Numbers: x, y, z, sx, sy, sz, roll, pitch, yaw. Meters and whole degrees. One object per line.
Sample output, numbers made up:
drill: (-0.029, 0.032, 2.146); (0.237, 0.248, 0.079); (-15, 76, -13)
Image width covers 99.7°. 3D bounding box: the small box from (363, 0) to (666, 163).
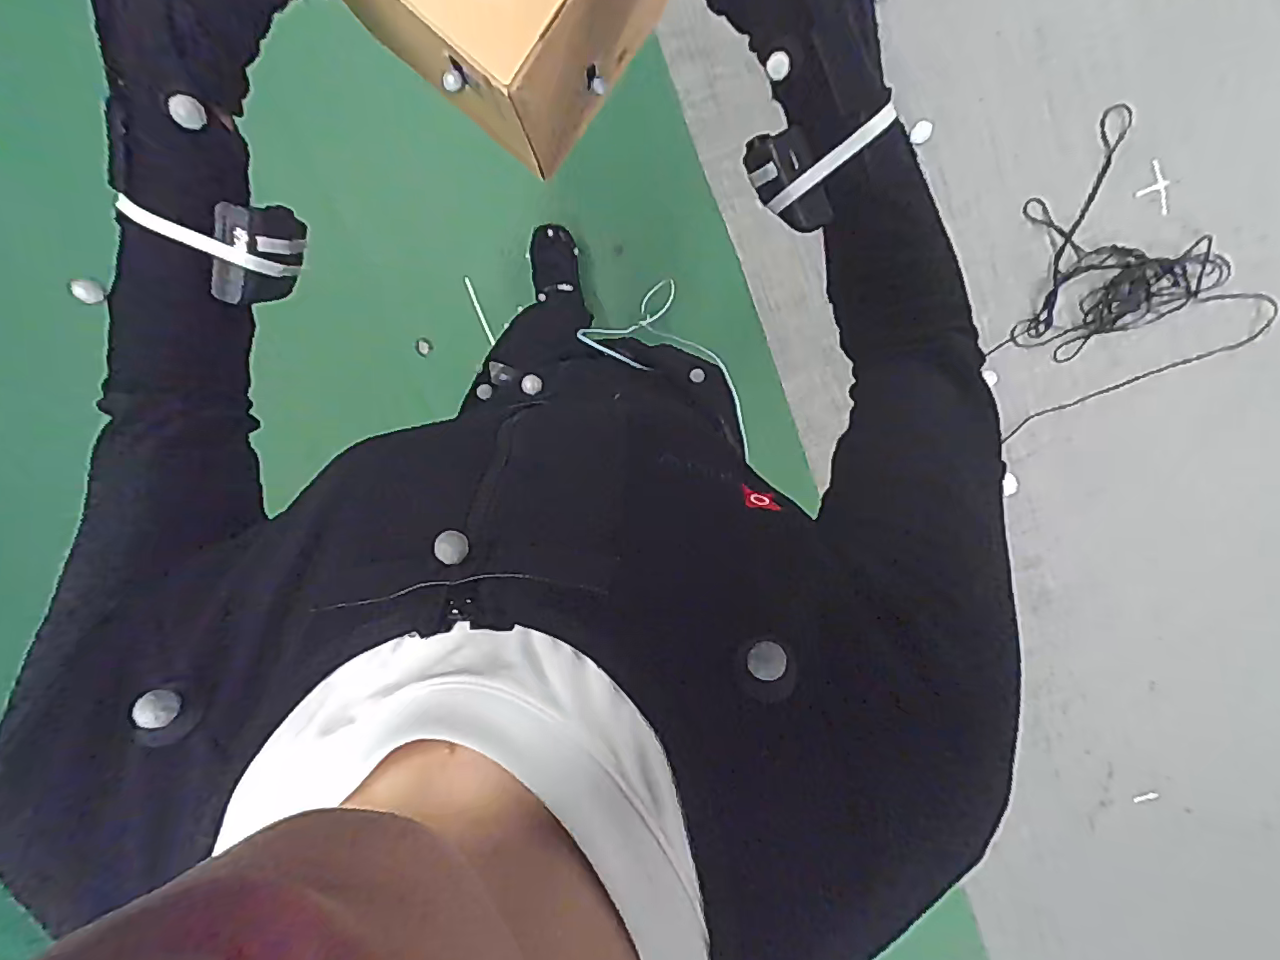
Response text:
small box: (-0.089, -0.353, 0.356); (0.179, 0.176, 0.168); (37, 99, -12)
